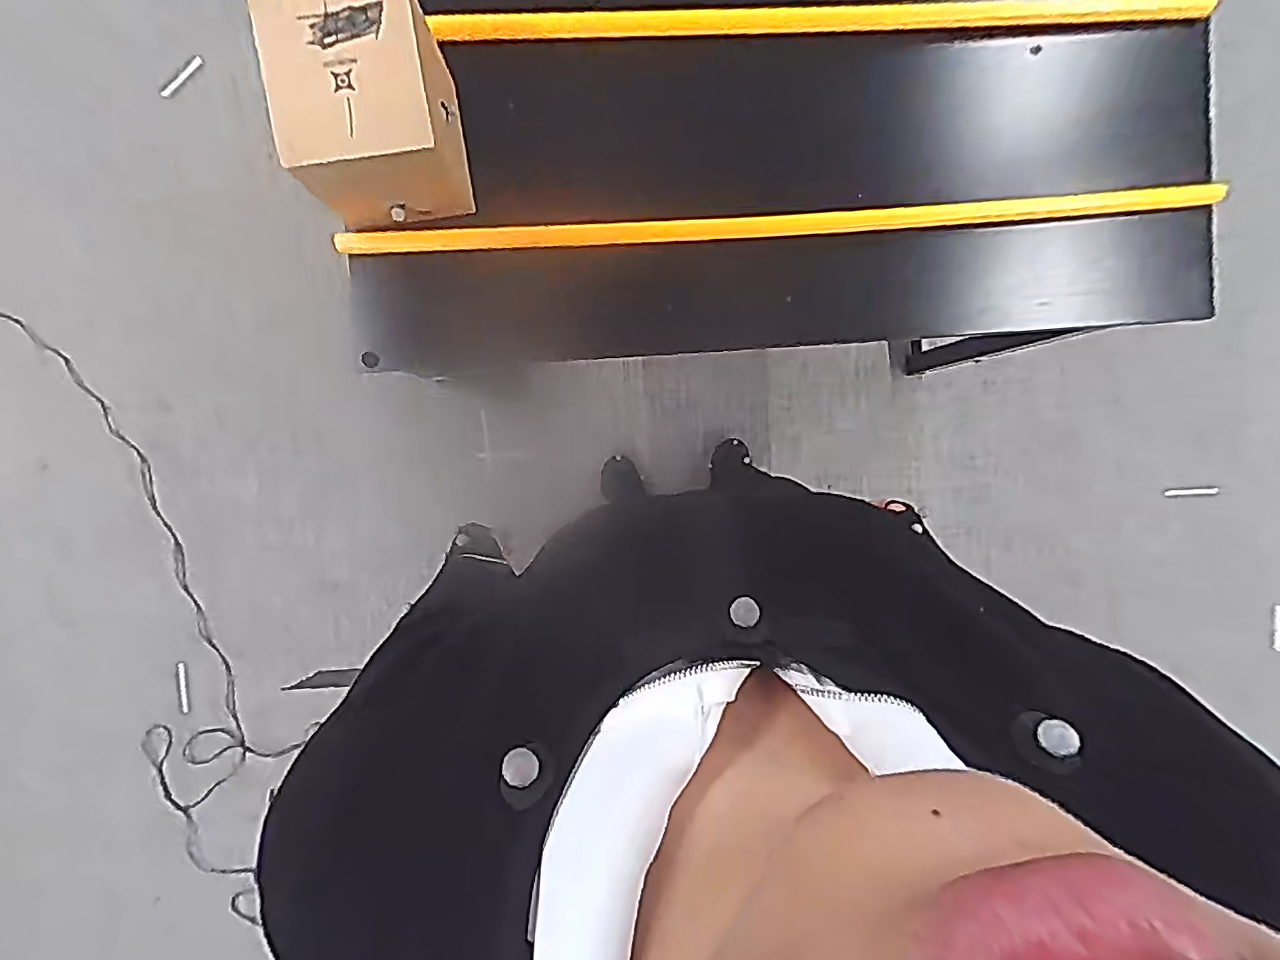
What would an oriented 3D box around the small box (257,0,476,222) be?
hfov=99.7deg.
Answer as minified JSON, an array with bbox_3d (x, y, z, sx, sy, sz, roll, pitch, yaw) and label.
[{"bbox_3d":[-0.308,-0.438,0.645,0.168,0.176,0.179,-9,95,-2],"label":"small box"}]
